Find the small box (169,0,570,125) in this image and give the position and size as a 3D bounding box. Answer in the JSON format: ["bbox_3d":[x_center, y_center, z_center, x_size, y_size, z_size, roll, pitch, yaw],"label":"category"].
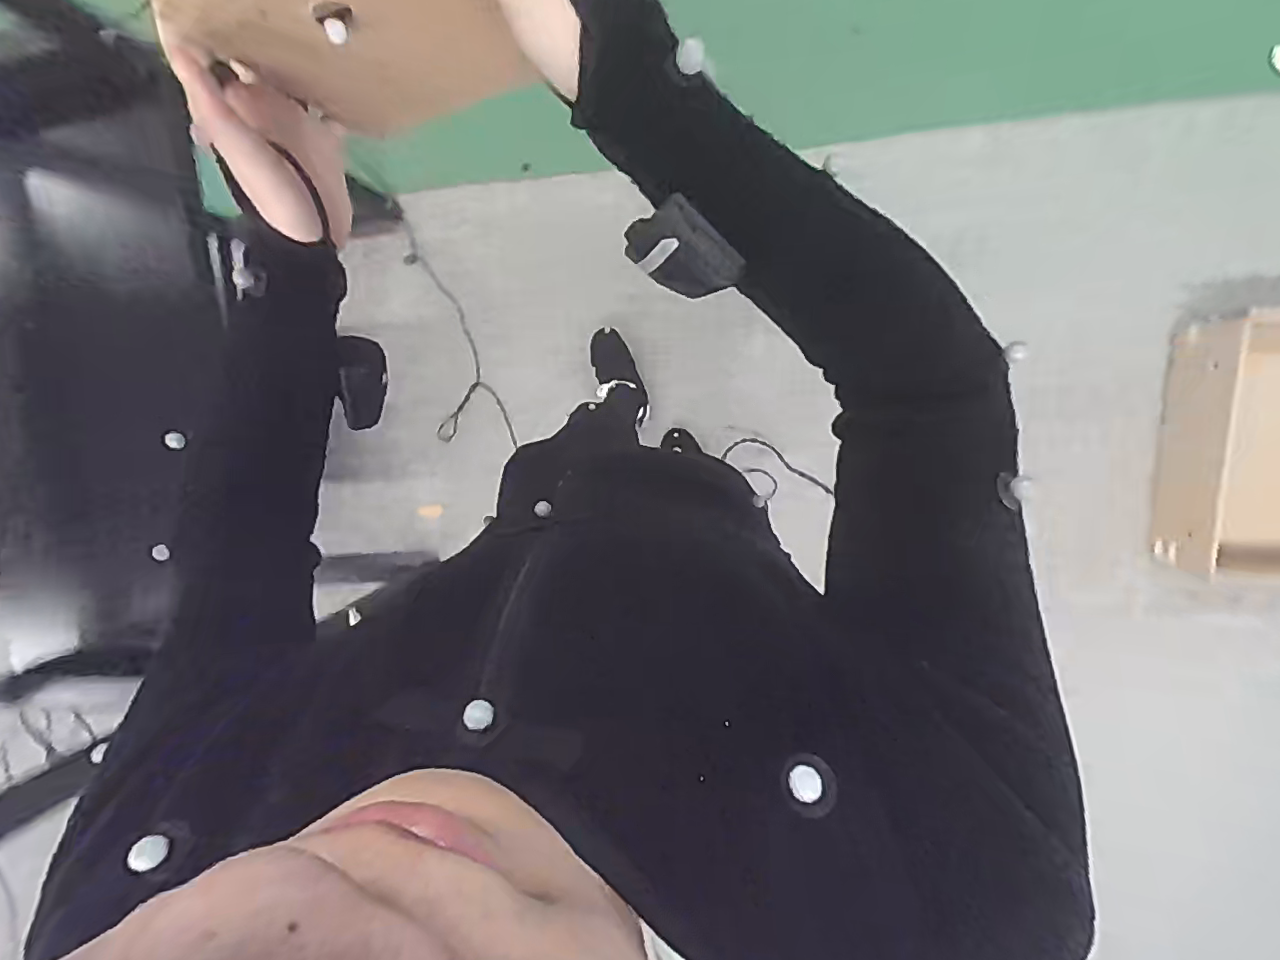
[{"bbox_3d":[-0.164,-0.356,0.331,0.179,0.176,0.168,-8,100,15],"label":"small box"}]
